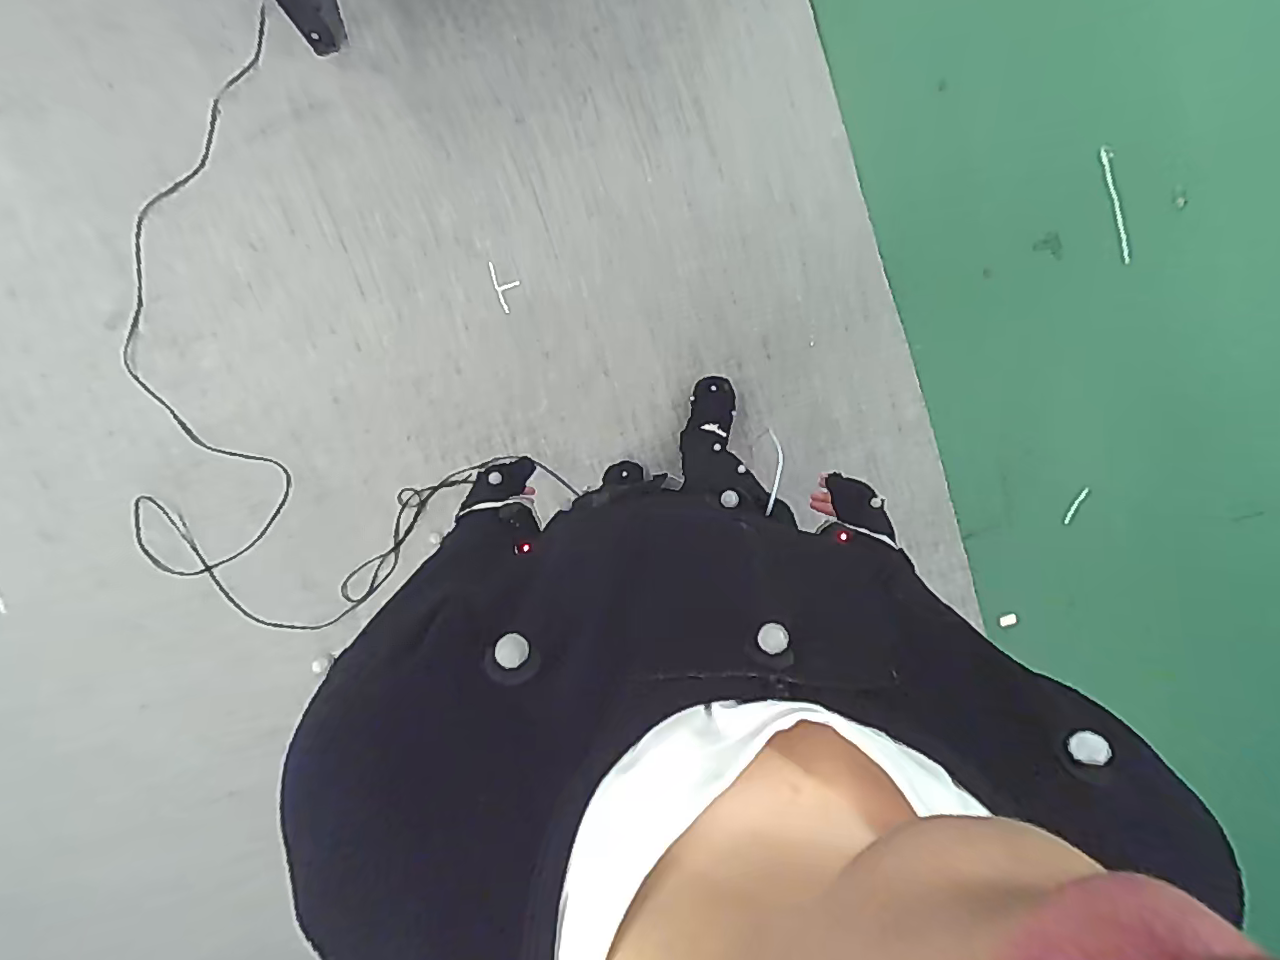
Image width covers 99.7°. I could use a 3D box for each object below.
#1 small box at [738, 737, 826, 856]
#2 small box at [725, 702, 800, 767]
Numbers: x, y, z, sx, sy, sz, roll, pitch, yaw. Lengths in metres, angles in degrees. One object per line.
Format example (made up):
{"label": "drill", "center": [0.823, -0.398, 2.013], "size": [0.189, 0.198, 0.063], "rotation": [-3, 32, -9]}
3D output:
{"label": "small box", "center": [0.343, 0.742, 1.254], "size": [0.168, 0.176, 0.179], "rotation": [-21, 97, 0]}
{"label": "small box", "center": [0.336, 0.722, 1.416], "size": [0.168, 0.176, 0.179], "rotation": [-20, 97, 0]}
